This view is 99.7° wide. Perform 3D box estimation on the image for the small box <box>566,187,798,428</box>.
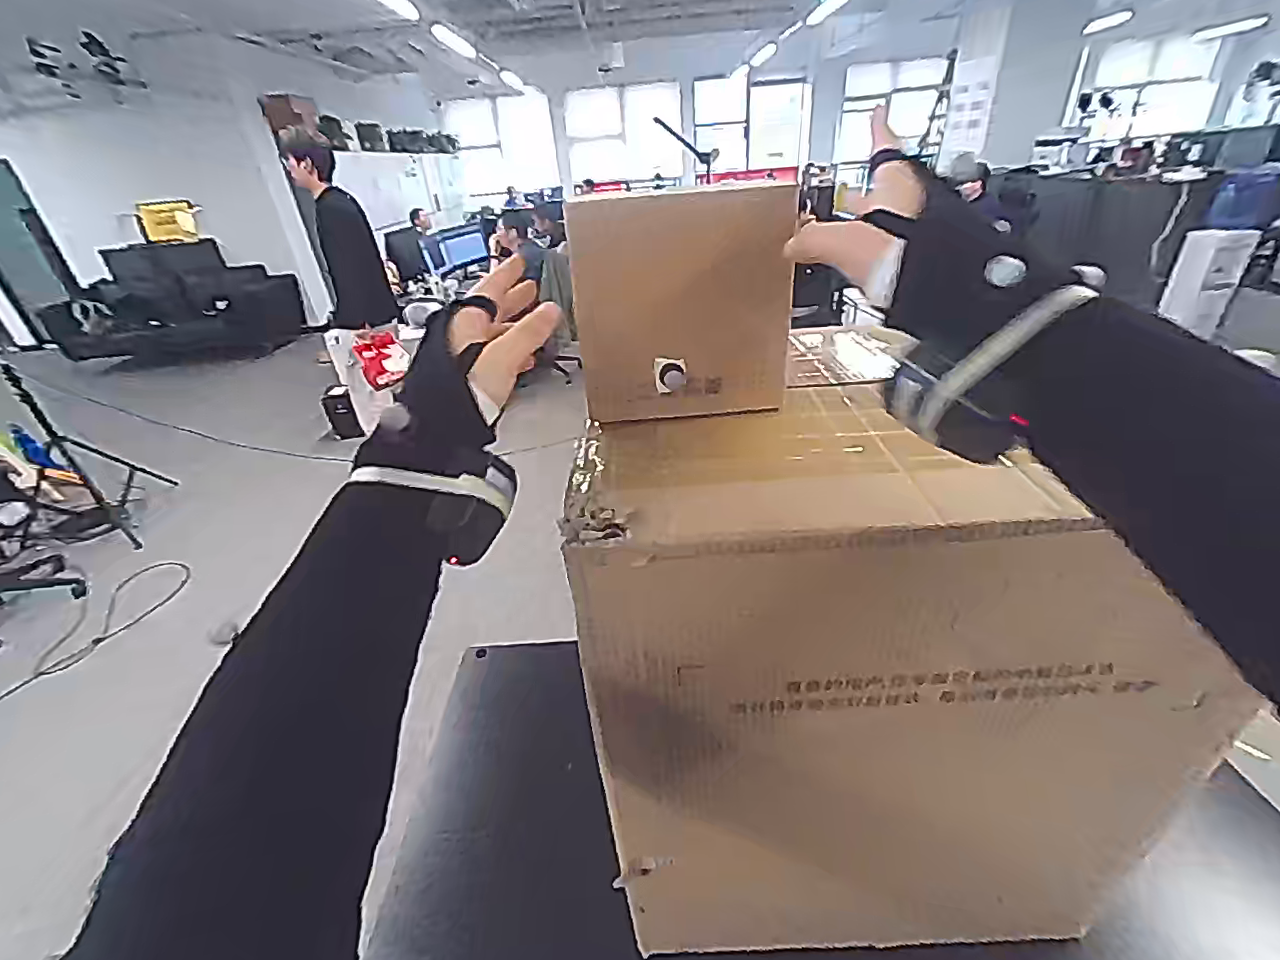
[{"bbox_3d":[0.030,-0.160,0.485,0.168,0.176,0.179,-7,30,-1],"label":"small box"}]
